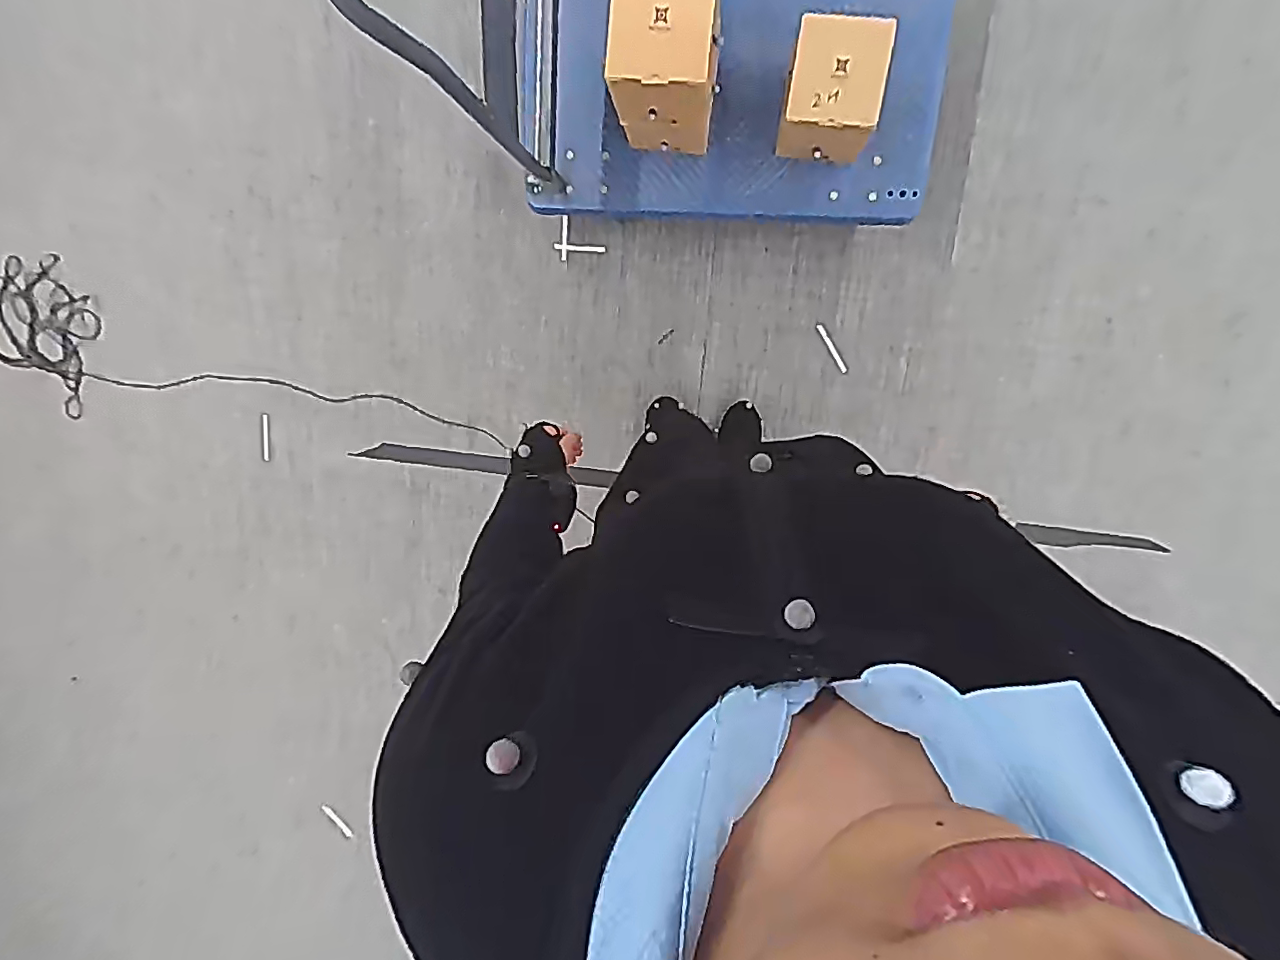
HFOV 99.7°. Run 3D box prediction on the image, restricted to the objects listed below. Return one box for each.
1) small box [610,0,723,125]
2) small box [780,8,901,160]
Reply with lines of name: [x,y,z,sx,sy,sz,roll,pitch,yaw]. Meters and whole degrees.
small box: [0.049,-0.736,0.913,0.168,0.176,0.179,7,103,5]
small box: [0.373,-0.749,1.038,0.168,0.176,0.179,9,102,6]
